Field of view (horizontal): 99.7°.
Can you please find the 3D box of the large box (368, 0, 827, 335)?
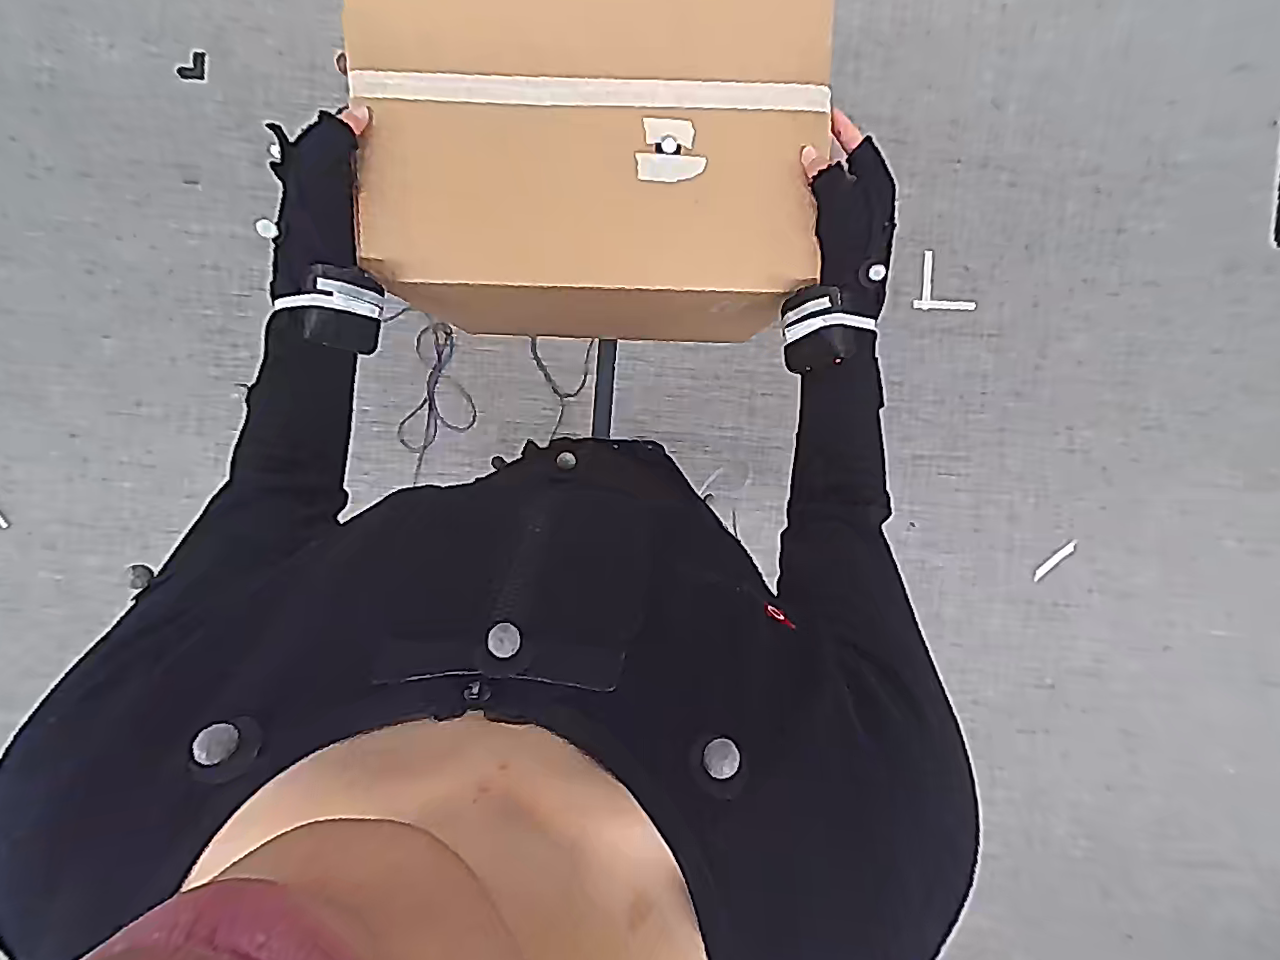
[{"bbox_3d":[-0.041,-0.347,0.623,0.408,0.320,0.320,1,97,-2],"label":"large box"}]
